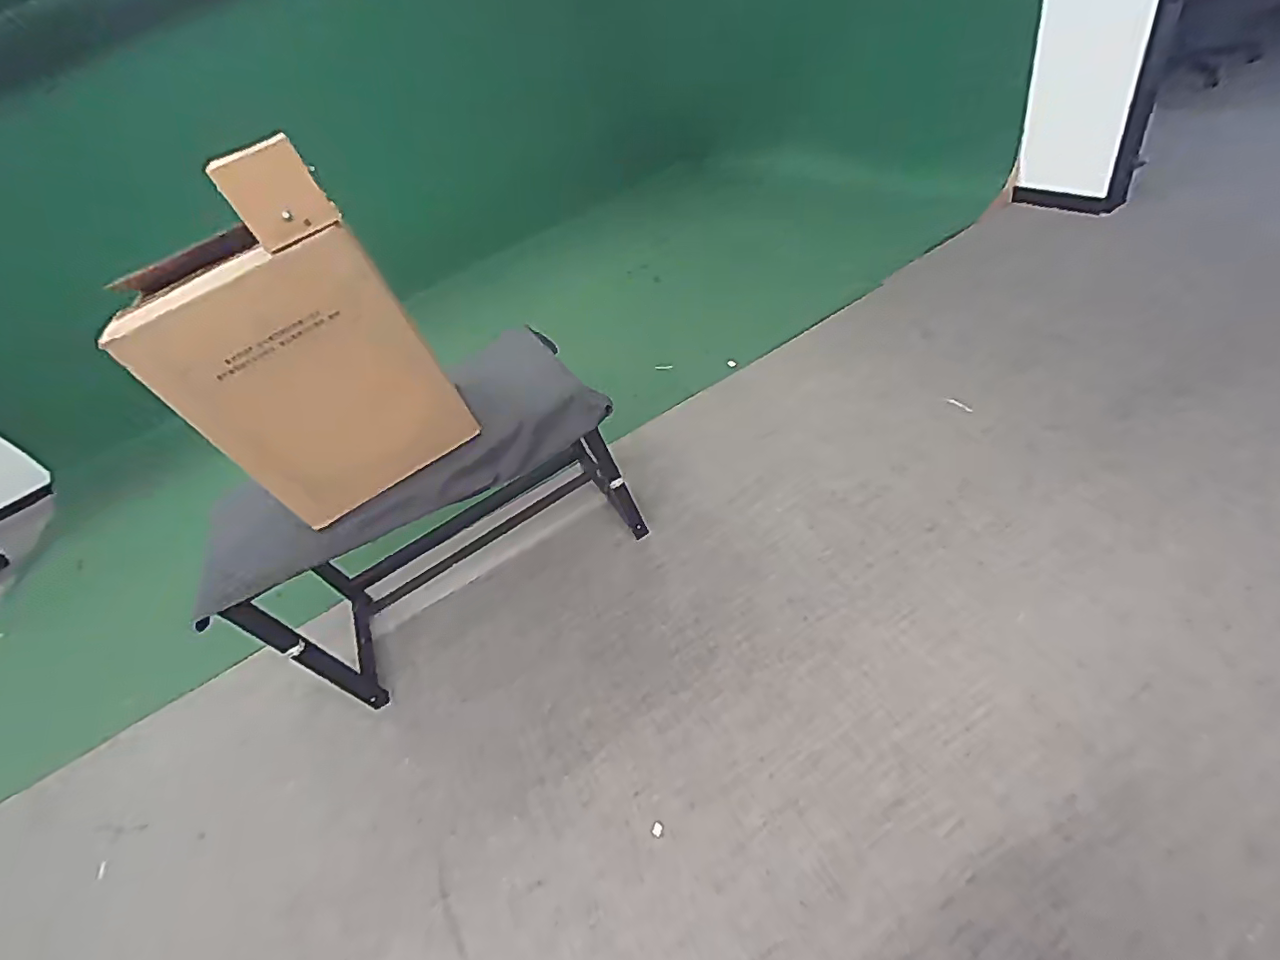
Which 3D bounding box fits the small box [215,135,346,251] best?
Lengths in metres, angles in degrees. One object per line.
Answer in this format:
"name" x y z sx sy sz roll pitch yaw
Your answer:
"small box" -0.773 -0.623 1.178 0.168 0.176 0.179 -32 44 -10
